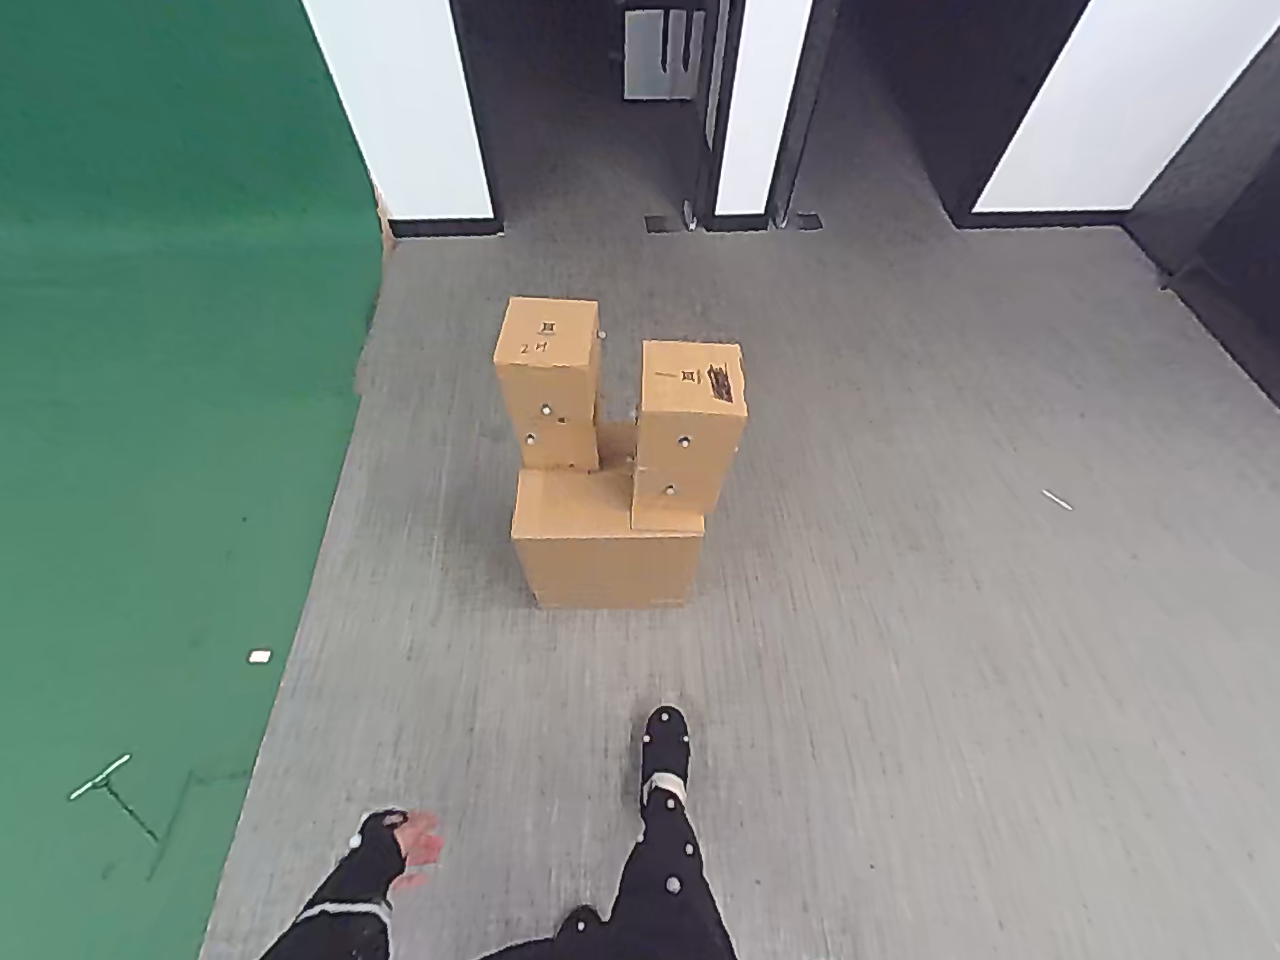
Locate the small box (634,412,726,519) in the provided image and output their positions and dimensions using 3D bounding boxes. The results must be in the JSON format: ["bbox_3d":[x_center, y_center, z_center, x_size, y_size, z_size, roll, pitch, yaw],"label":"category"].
[{"bbox_3d":[0.077,-0.027,1.127,0.179,0.176,0.168,1,59,0],"label":"small box"}]

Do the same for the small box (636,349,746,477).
[{"bbox_3d":[0.086,-0.117,0.991,0.179,0.176,0.168,2,57,-1],"label":"small box"}]

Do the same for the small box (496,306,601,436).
[{"bbox_3d":[-0.166,-0.209,1.047,0.168,0.176,0.179,3,57,2],"label":"small box"}]
